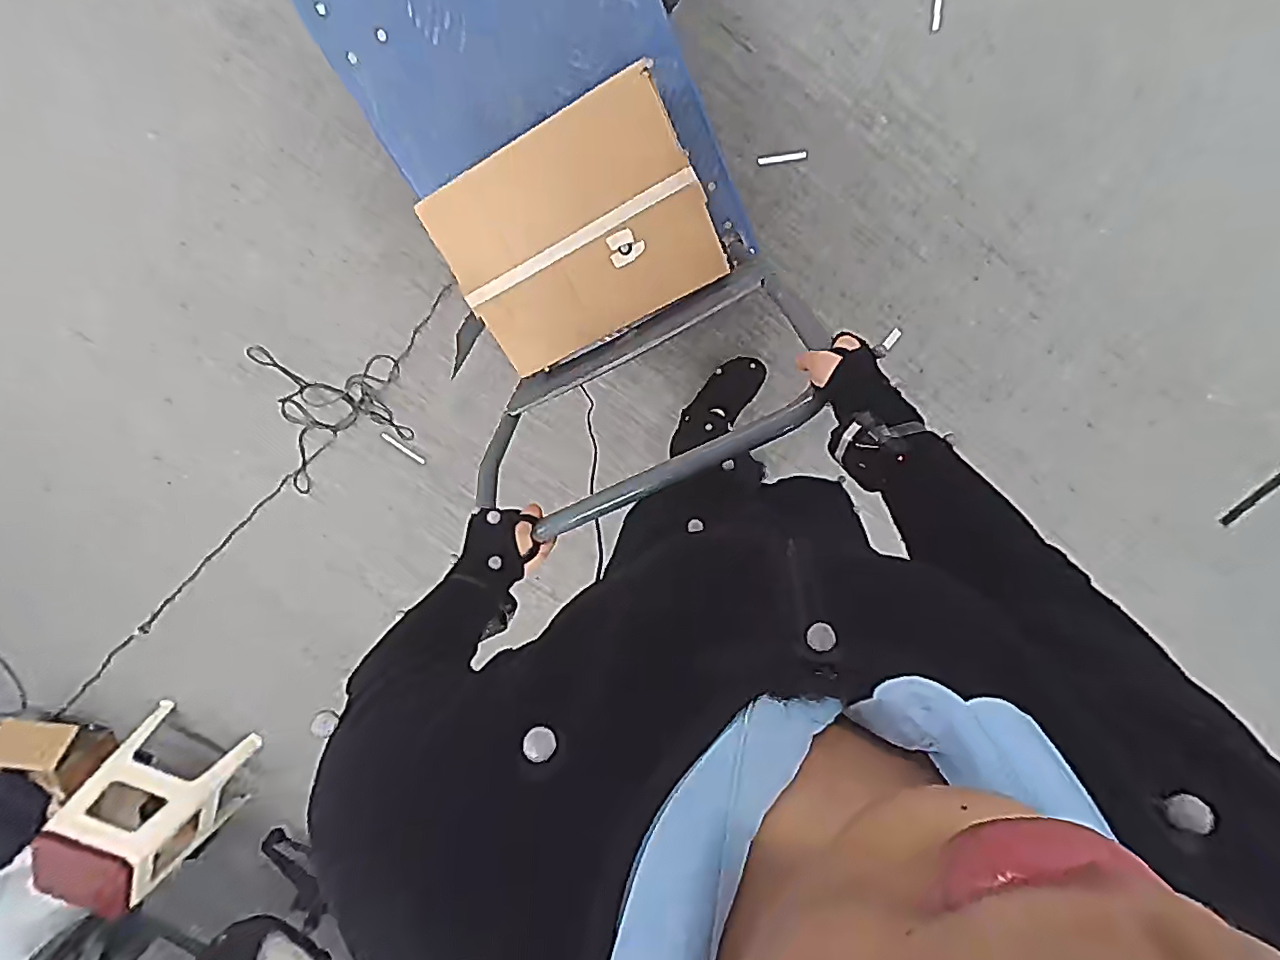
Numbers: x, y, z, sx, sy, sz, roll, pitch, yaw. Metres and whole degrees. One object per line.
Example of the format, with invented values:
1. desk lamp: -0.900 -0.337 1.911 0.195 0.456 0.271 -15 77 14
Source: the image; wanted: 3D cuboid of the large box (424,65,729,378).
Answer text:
1. large box: -0.097 -0.448 0.992 0.408 0.320 0.320 -25 116 13
